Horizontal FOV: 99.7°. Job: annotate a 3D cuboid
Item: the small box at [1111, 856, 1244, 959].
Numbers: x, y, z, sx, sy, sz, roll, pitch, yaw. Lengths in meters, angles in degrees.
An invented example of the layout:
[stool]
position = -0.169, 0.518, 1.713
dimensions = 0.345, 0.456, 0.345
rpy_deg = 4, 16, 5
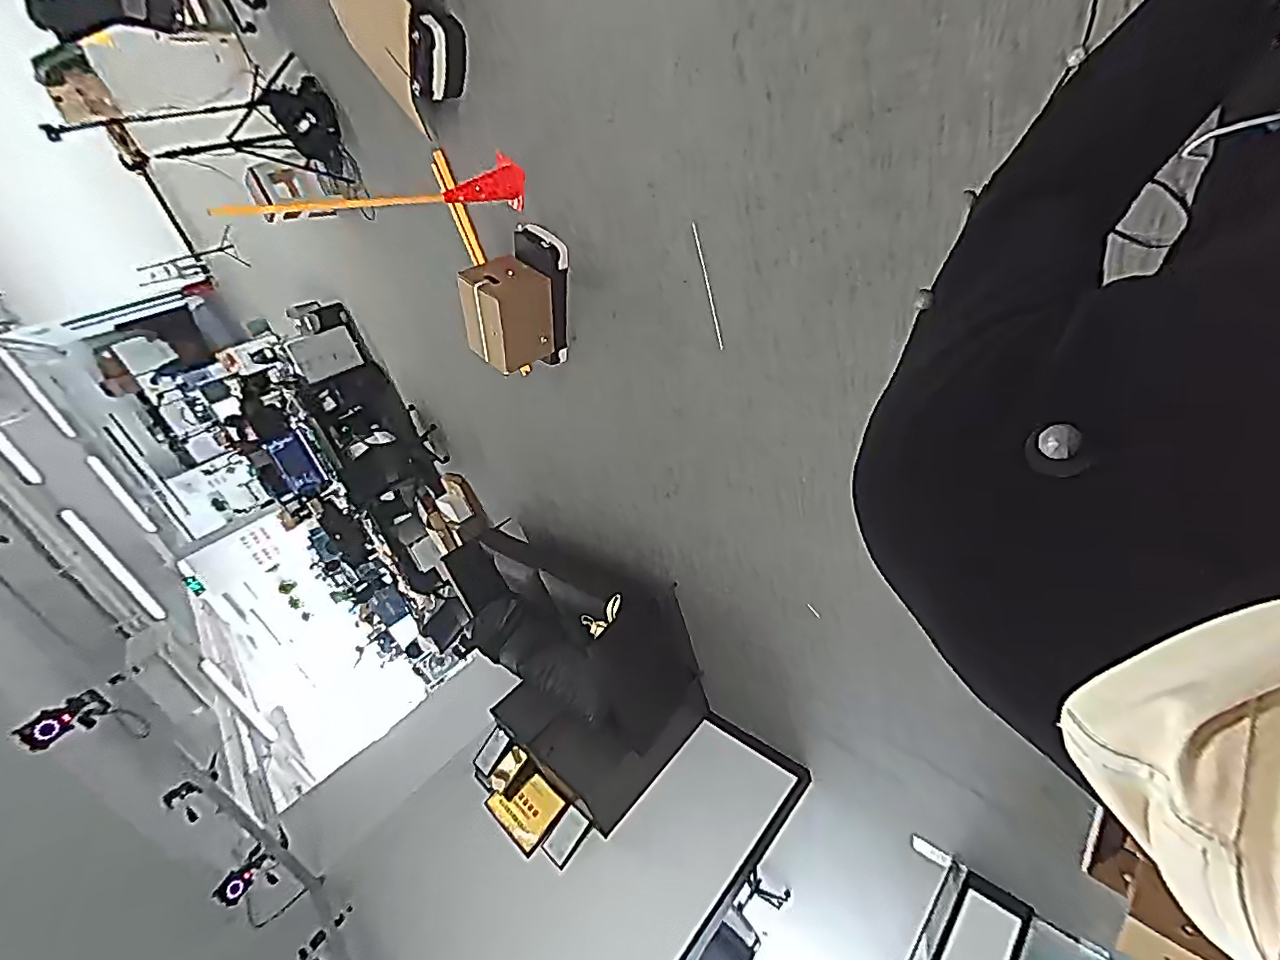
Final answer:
[small box]
position = 1.196, 0.998, 1.204
dimensions = 0.179, 0.176, 0.168
rpy_deg = 18, 132, 44
